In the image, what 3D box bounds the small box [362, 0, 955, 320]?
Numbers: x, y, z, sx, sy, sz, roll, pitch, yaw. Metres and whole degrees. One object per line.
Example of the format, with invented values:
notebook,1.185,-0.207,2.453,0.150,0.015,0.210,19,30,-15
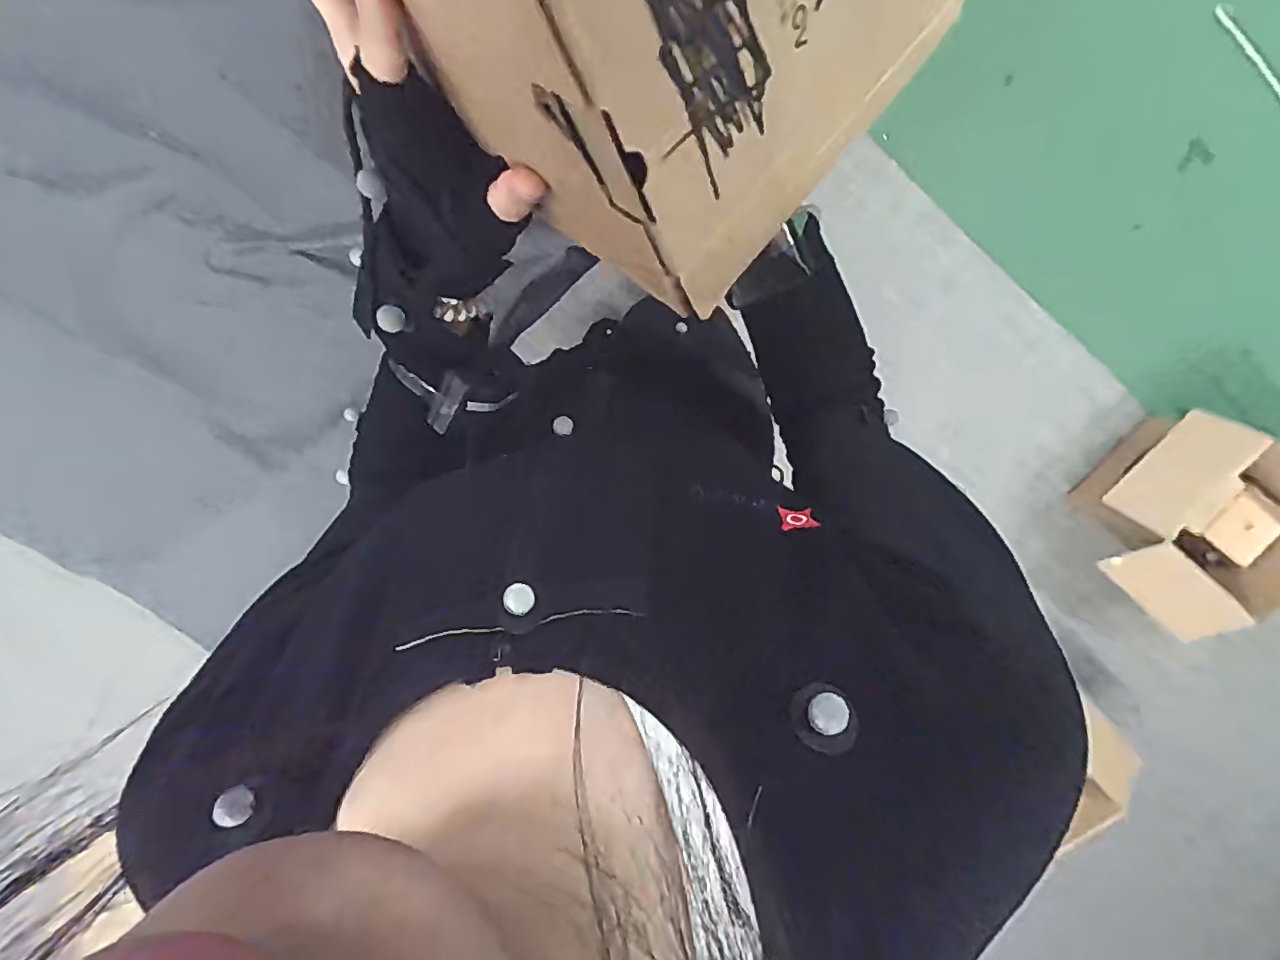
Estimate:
small box,-0.003,-0.206,0.207,0.179,0.168,0.176,-48,64,1
